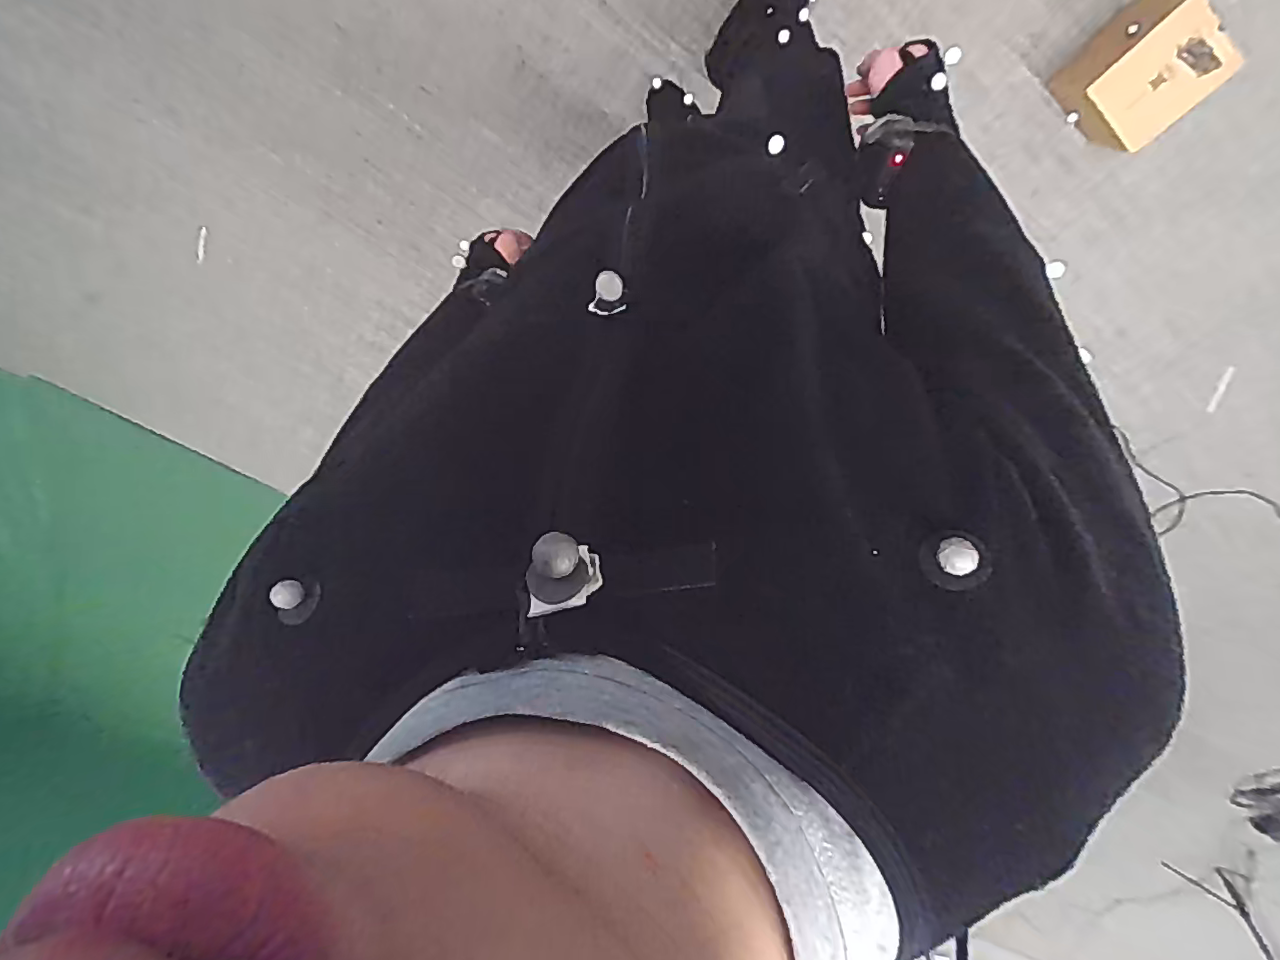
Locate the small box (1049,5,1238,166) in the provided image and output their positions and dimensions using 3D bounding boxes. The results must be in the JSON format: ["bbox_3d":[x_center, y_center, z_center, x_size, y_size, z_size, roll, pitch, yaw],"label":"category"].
[{"bbox_3d":[0.929,-0.737,1.016,0.168,0.176,0.179,35,127,-17],"label":"small box"}]
